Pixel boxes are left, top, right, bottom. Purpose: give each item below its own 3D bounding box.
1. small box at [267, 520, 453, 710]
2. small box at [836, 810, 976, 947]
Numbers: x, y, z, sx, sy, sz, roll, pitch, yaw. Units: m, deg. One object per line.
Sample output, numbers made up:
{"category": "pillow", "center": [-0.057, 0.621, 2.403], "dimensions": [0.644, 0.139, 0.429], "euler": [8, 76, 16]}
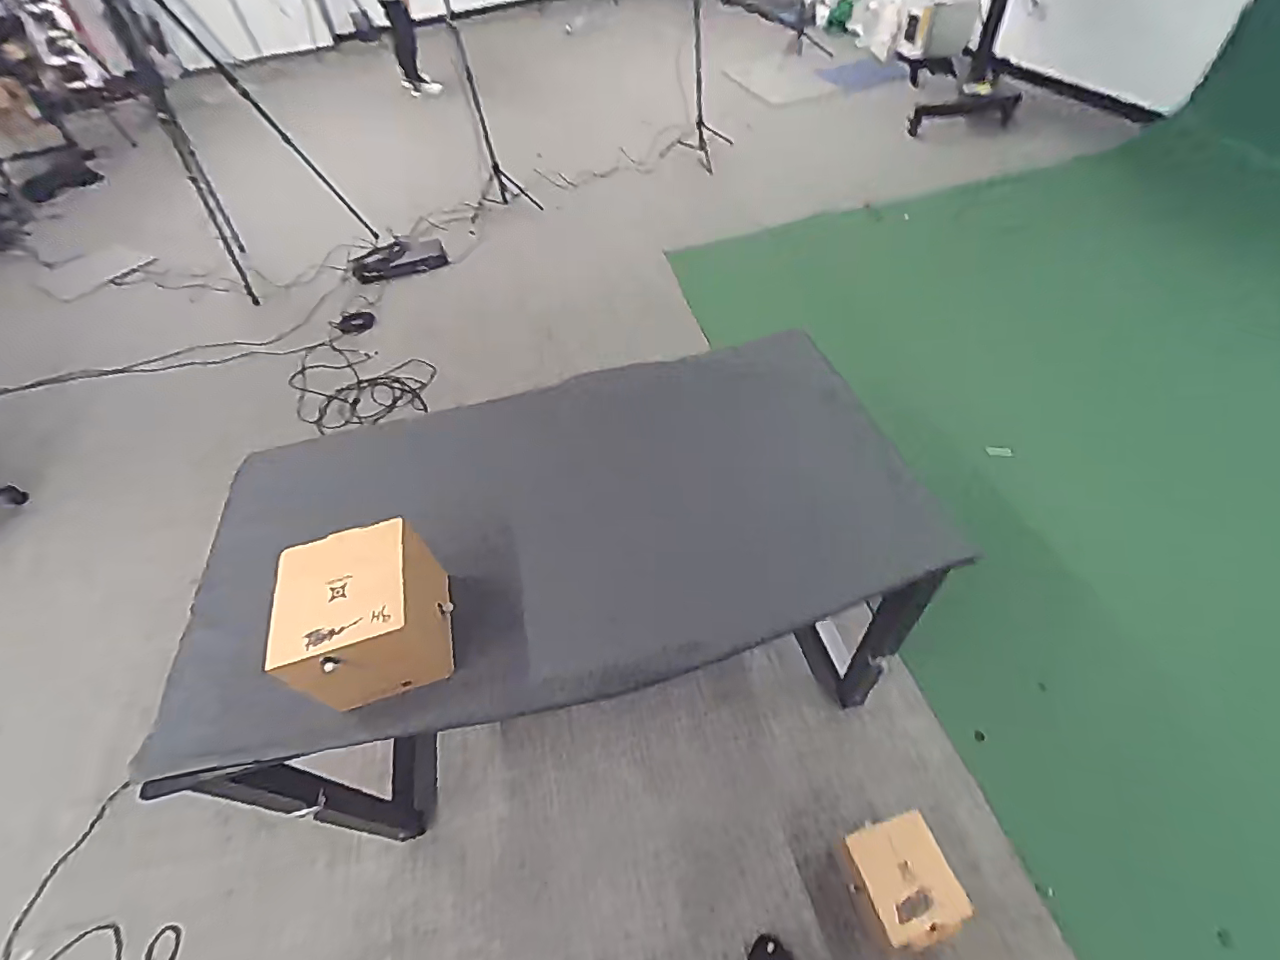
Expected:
{"category": "small box", "center": [-0.373, 0.189, 0.754], "dimensions": [0.168, 0.176, 0.179], "euler": [-17, 51, -5]}
{"category": "small box", "center": [0.515, 0.791, 1.077], "dimensions": [0.168, 0.176, 0.179], "euler": [-17, 50, -5]}
